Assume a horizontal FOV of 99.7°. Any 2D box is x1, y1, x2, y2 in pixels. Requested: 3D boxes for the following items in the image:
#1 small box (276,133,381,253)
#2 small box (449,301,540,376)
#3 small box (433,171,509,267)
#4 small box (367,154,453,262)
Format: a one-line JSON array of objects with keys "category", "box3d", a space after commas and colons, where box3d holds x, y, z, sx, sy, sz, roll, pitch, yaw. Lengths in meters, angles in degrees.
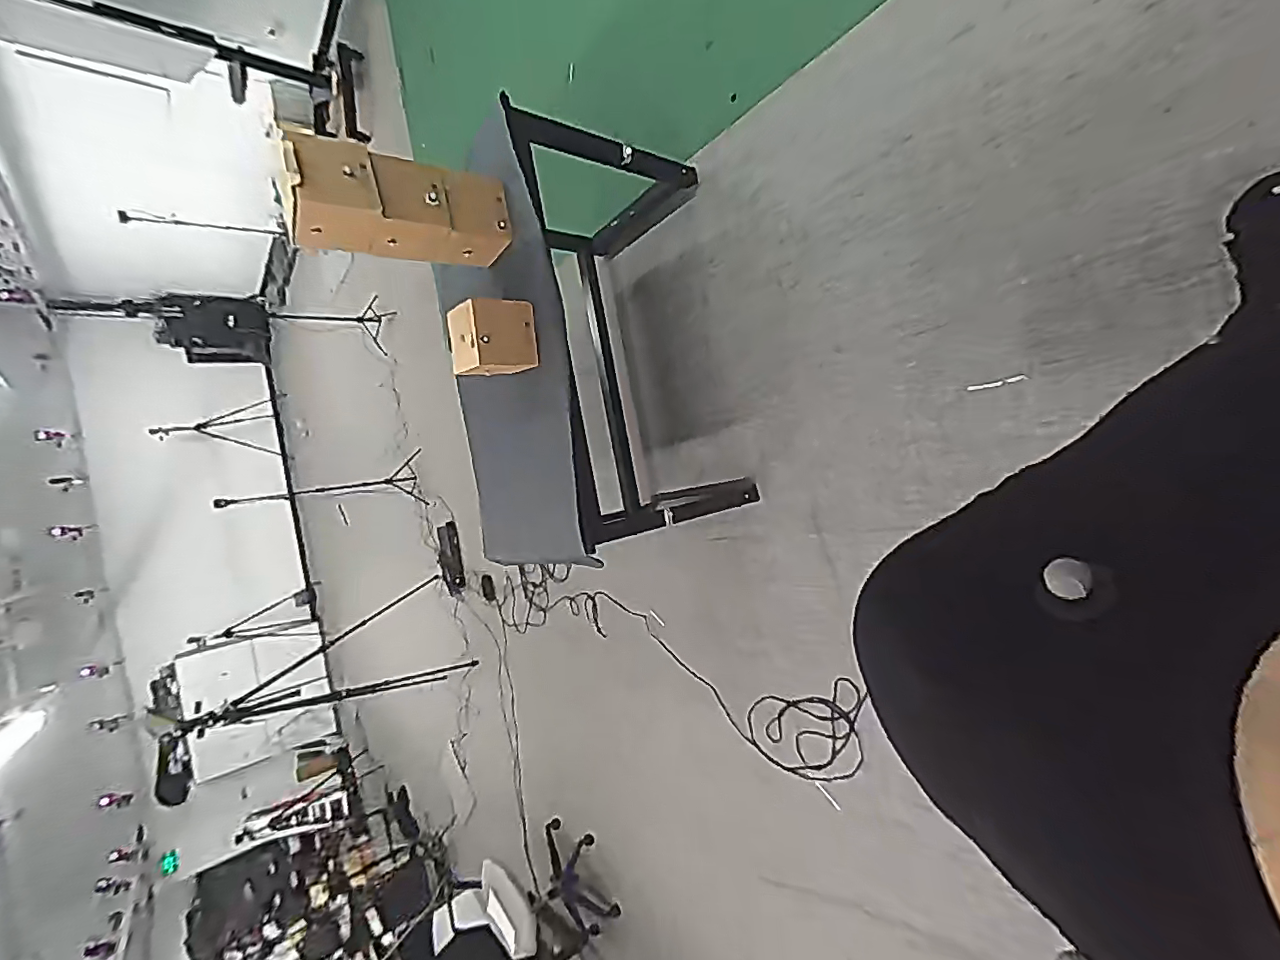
[{"category": "small box", "box3d": [-0.703, -0.634, 1.222, 0.179, 0.176, 0.168, -23, 83, 51]}, {"category": "small box", "box3d": [-0.381, -0.364, 1.420, 0.179, 0.176, 0.168, 2, 100, 51]}, {"category": "small box", "box3d": [-0.460, -0.683, 1.436, 0.179, 0.176, 0.168, -12, 90, 52]}, {"category": "small box", "box3d": [-0.581, -0.657, 1.332, 0.179, 0.176, 0.168, -18, 87, 50]}]
